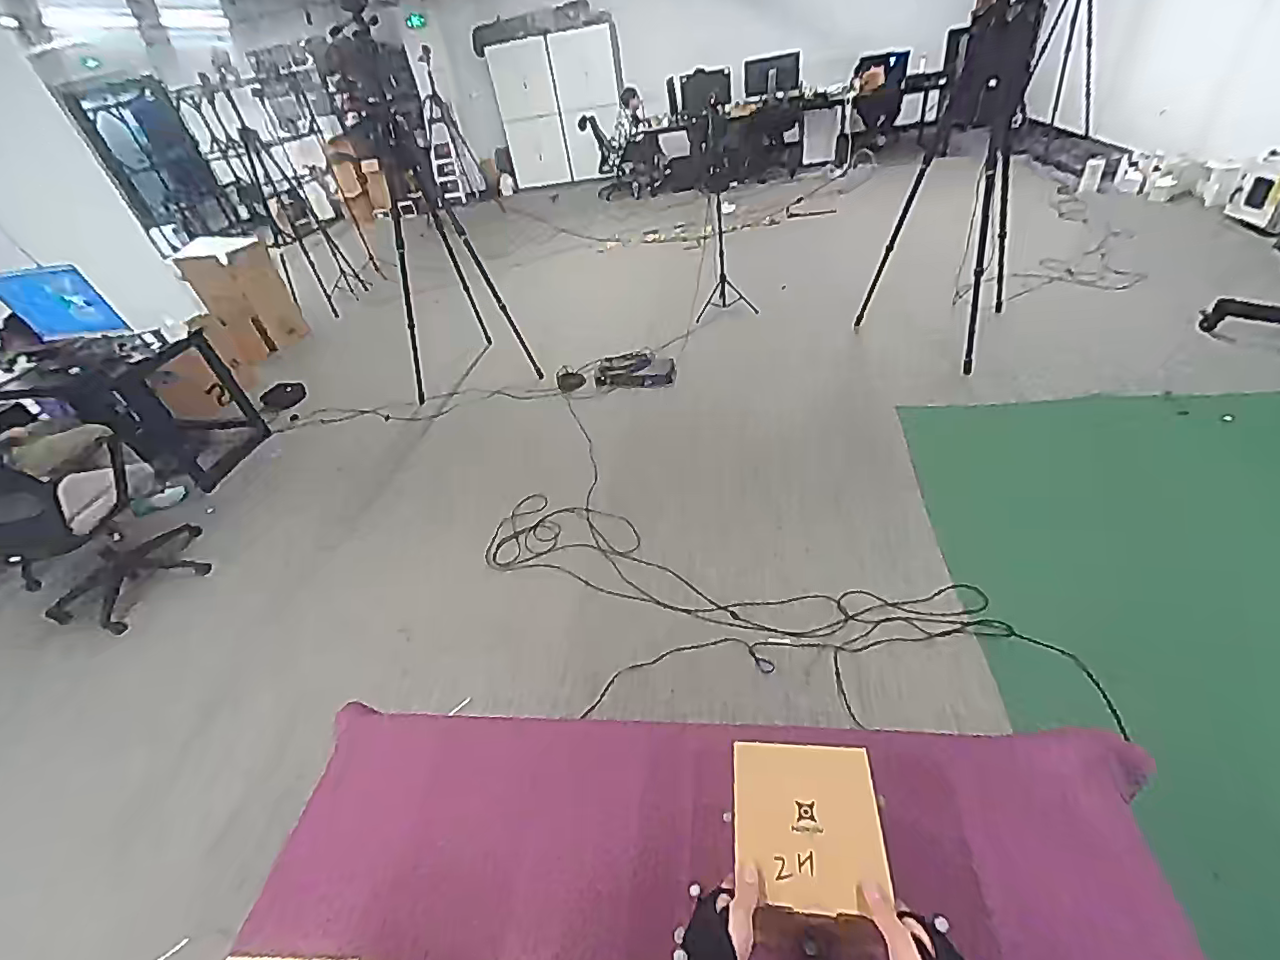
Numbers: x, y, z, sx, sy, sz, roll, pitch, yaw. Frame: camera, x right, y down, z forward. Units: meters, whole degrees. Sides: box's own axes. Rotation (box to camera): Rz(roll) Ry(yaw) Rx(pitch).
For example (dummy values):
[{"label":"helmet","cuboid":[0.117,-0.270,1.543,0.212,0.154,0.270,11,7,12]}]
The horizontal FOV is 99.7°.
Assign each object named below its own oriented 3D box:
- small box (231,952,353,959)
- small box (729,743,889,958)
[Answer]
[{"label":"small box","cuboid":[-0.382,0.656,0.594,0.168,0.176,0.179,-5,37,9]},{"label":"small box","cuboid":[0.201,0.461,0.681,0.168,0.176,0.179,-3,40,13]}]
